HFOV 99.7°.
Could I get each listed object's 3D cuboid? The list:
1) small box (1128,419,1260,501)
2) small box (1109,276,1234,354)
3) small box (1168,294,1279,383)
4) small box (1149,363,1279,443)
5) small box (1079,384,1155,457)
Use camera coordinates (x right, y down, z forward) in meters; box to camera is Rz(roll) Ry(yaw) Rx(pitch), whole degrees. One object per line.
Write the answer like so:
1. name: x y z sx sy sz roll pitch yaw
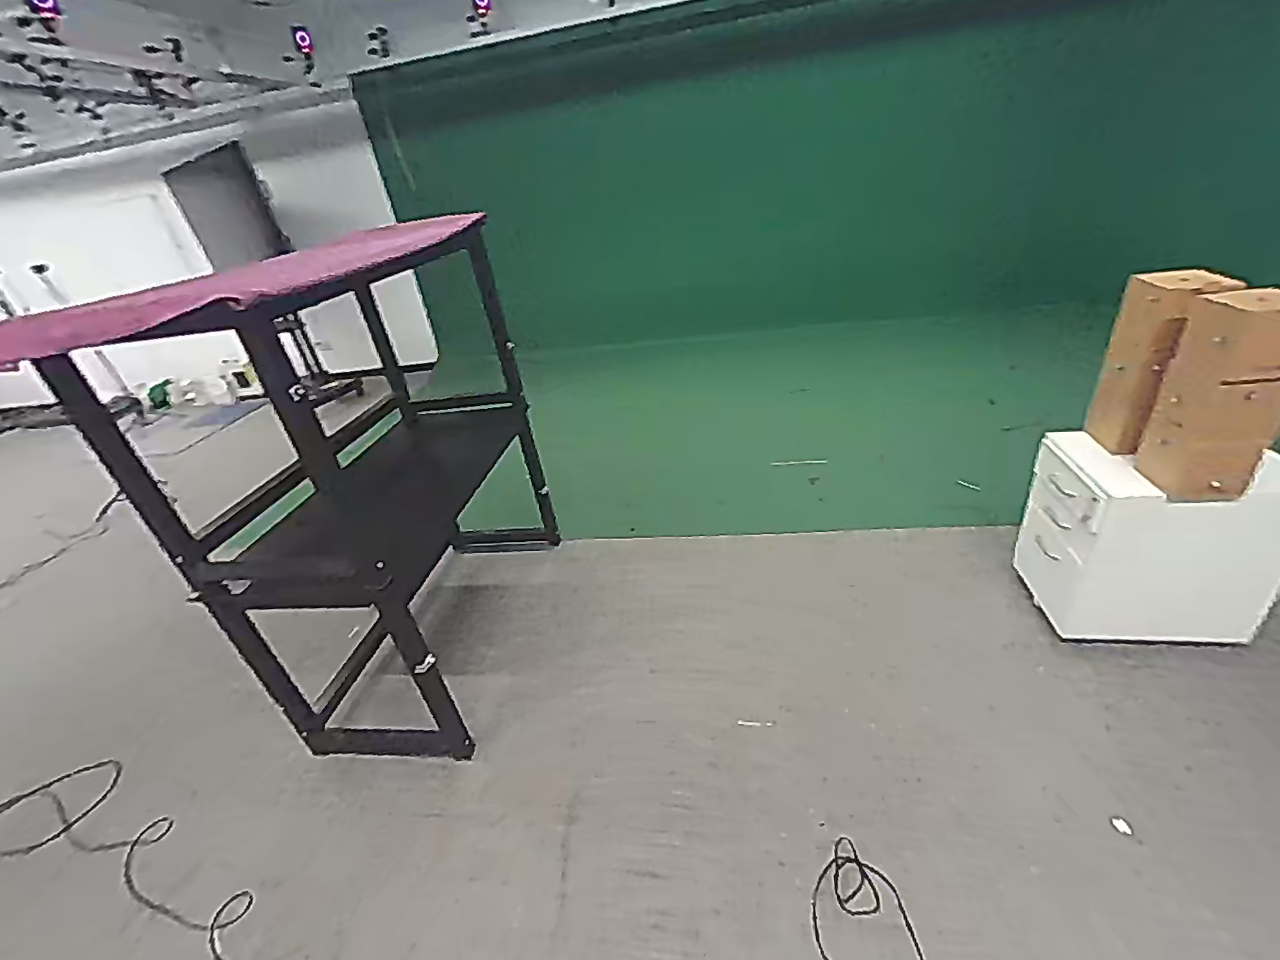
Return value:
1. small box: 1.493 -0.058 1.475 0.168 0.176 0.179 -2 30 12
2. small box: 1.477 -0.464 1.520 0.168 0.176 0.179 -1 32 12
3. small box: 1.454 -0.339 1.312 0.168 0.176 0.179 -2 29 11
4. small box: 1.475 -0.204 1.399 0.179 0.176 0.168 -3 31 10
5. small box: 1.520 -0.185 1.685 0.168 0.176 0.179 -2 32 13
